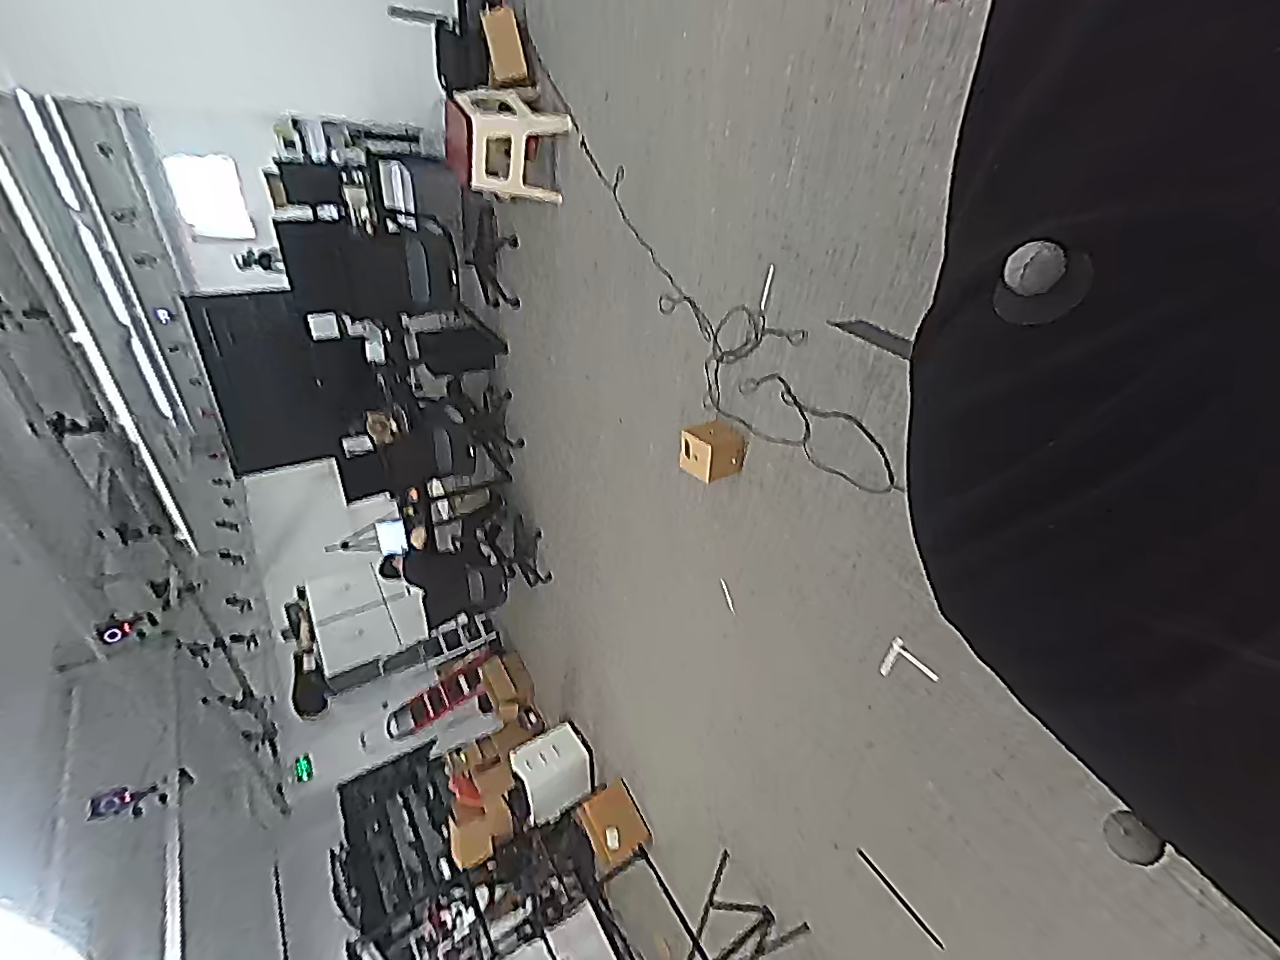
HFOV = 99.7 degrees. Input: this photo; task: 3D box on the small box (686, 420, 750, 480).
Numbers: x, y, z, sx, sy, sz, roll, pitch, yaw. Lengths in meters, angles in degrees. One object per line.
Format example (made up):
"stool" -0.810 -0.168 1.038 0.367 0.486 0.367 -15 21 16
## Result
"small box" 0.303 -0.126 2.118 0.179 0.176 0.168 38 137 44
